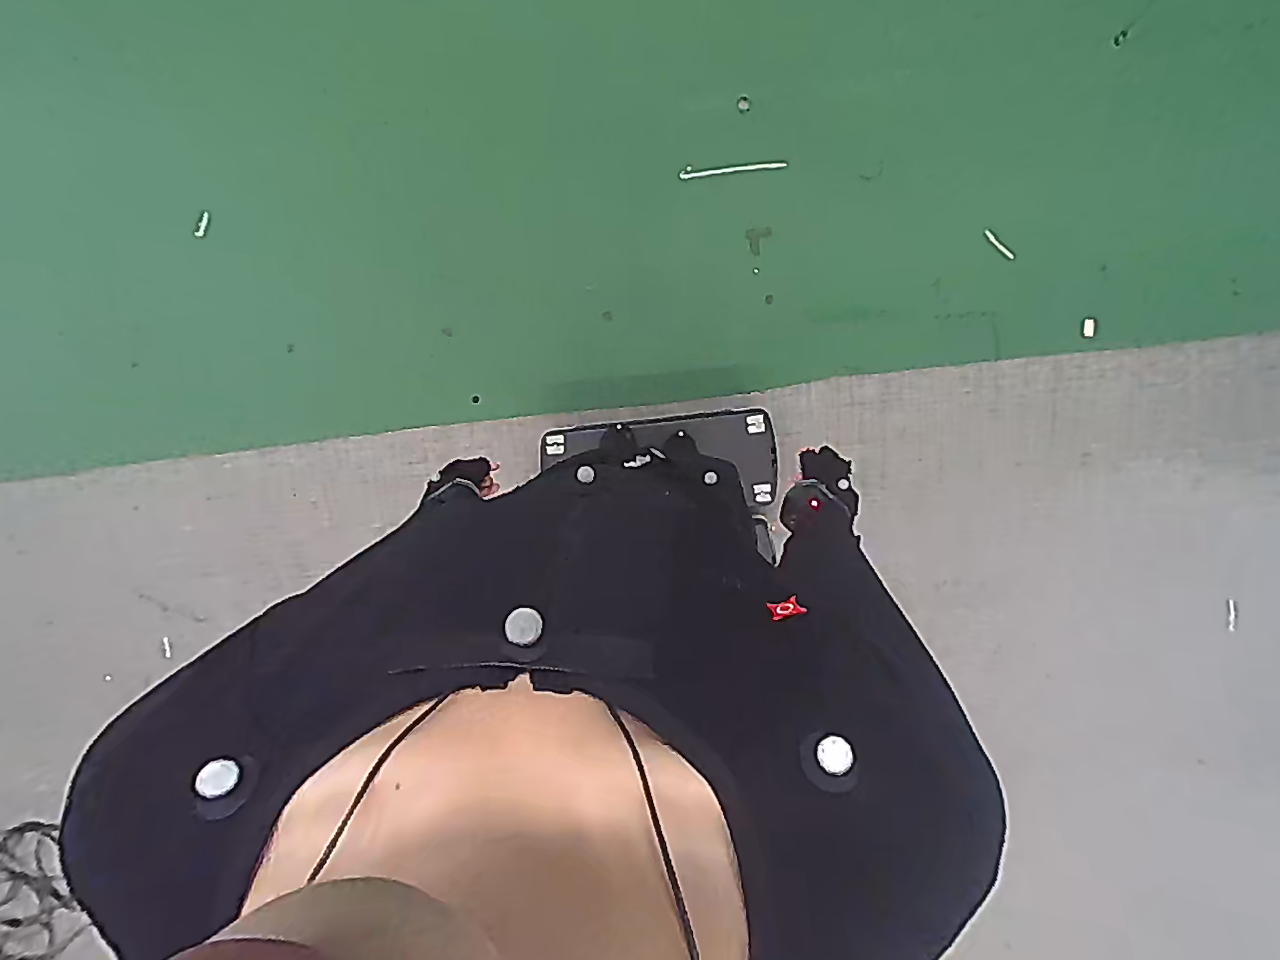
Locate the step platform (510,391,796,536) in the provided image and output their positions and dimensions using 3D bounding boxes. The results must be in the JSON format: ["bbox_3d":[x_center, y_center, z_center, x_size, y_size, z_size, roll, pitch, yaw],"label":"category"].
[{"bbox_3d":[0.032,-0.048,1.383,0.684,0.204,0.286,-7,97,2],"label":"step platform"}]
